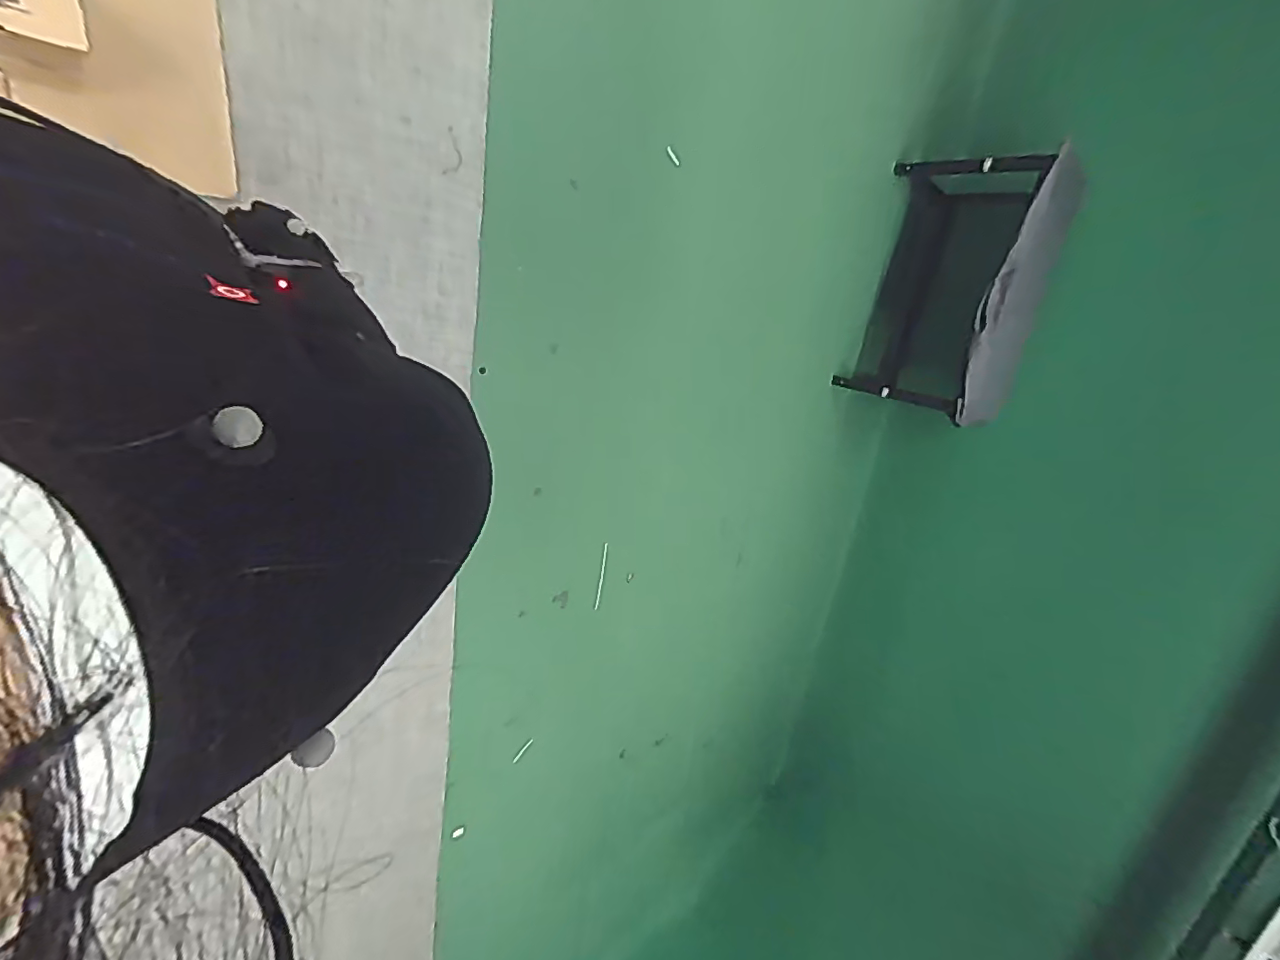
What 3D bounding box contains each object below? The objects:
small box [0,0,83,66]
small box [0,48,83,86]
[{"bbox_3d":[-0.845,-0.666,0.690,0.168,0.176,0.179,-13,118,-43],"label":"small box"},{"bbox_3d":[-0.960,-0.717,0.797,0.168,0.176,0.179,-13,118,-43],"label":"small box"}]
